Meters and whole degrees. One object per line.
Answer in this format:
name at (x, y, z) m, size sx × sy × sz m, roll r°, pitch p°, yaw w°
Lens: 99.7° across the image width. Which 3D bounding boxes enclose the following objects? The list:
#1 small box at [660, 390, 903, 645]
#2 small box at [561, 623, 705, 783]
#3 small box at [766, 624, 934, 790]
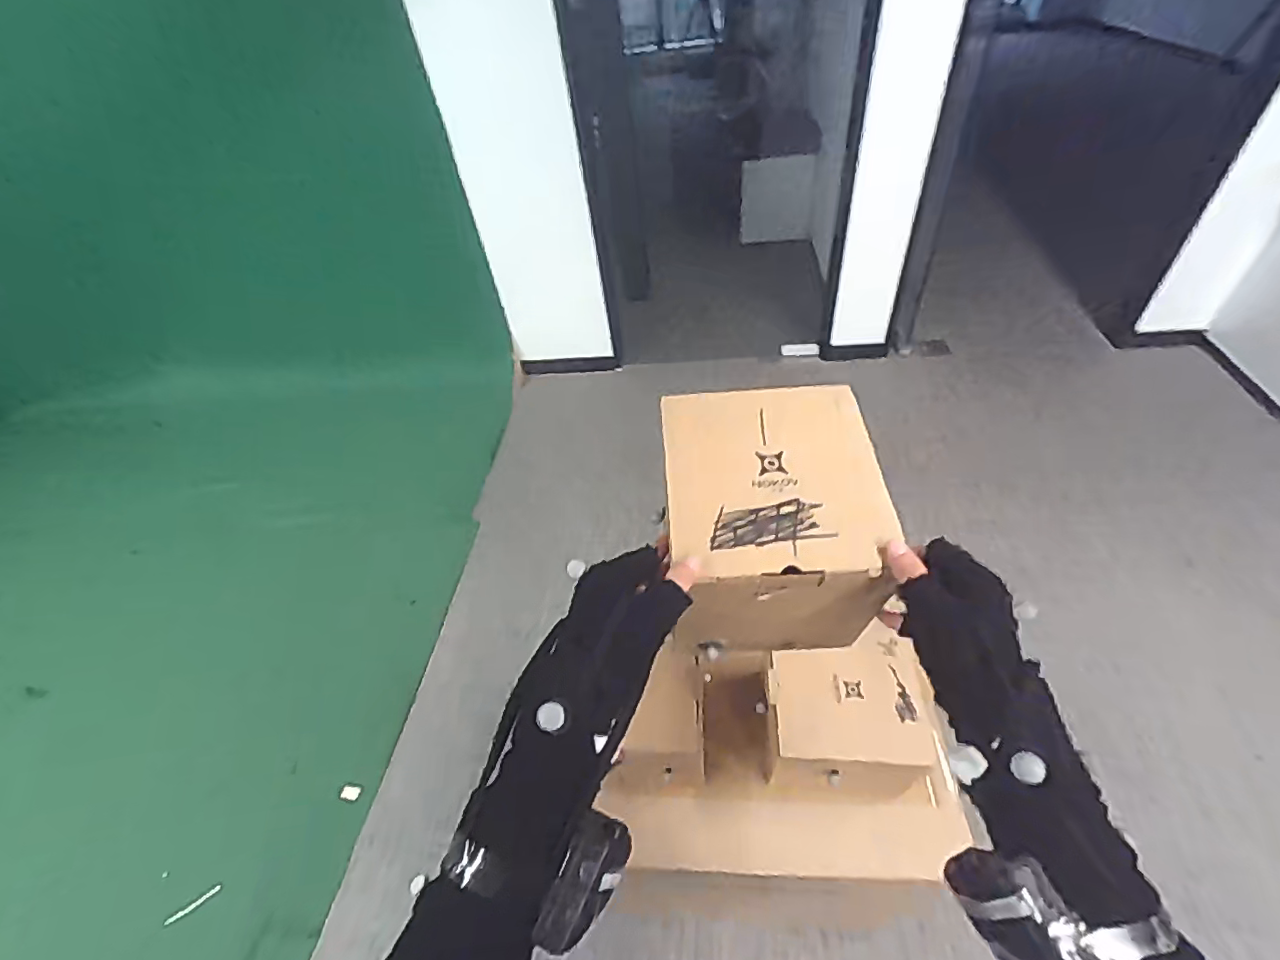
small box at (0.106, 0.042, 0.491) m, size 0.168 × 0.176 × 0.179 m, roll -3°, pitch 55°, yaw 1°
small box at (0.002, 0.314, 0.760) m, size 0.179 × 0.176 × 0.168 m, roll -3°, pitch 48°, yaw 7°
small box at (0.262, 0.305, 0.726) m, size 0.179 × 0.176 × 0.168 m, roll -1°, pitch 50°, yaw 8°
